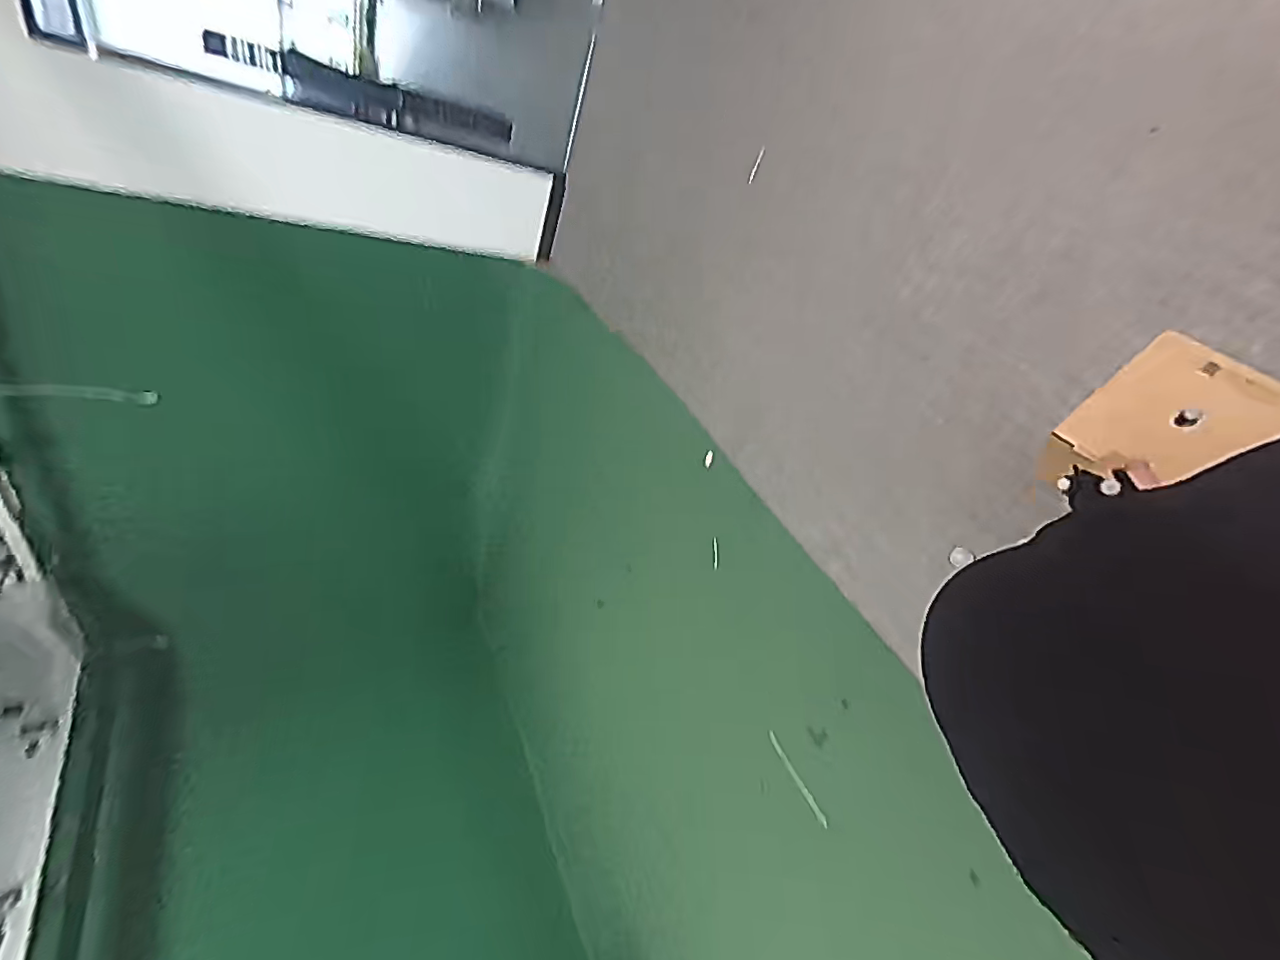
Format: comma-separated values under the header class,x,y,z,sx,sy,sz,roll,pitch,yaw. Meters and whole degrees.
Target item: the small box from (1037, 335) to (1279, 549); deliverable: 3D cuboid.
class,x,y,z,sx,sy,sz,roll,pitch,yaw
small box,0.639,-0.043,0.659,0.176,0.179,0.168,-44,59,9
